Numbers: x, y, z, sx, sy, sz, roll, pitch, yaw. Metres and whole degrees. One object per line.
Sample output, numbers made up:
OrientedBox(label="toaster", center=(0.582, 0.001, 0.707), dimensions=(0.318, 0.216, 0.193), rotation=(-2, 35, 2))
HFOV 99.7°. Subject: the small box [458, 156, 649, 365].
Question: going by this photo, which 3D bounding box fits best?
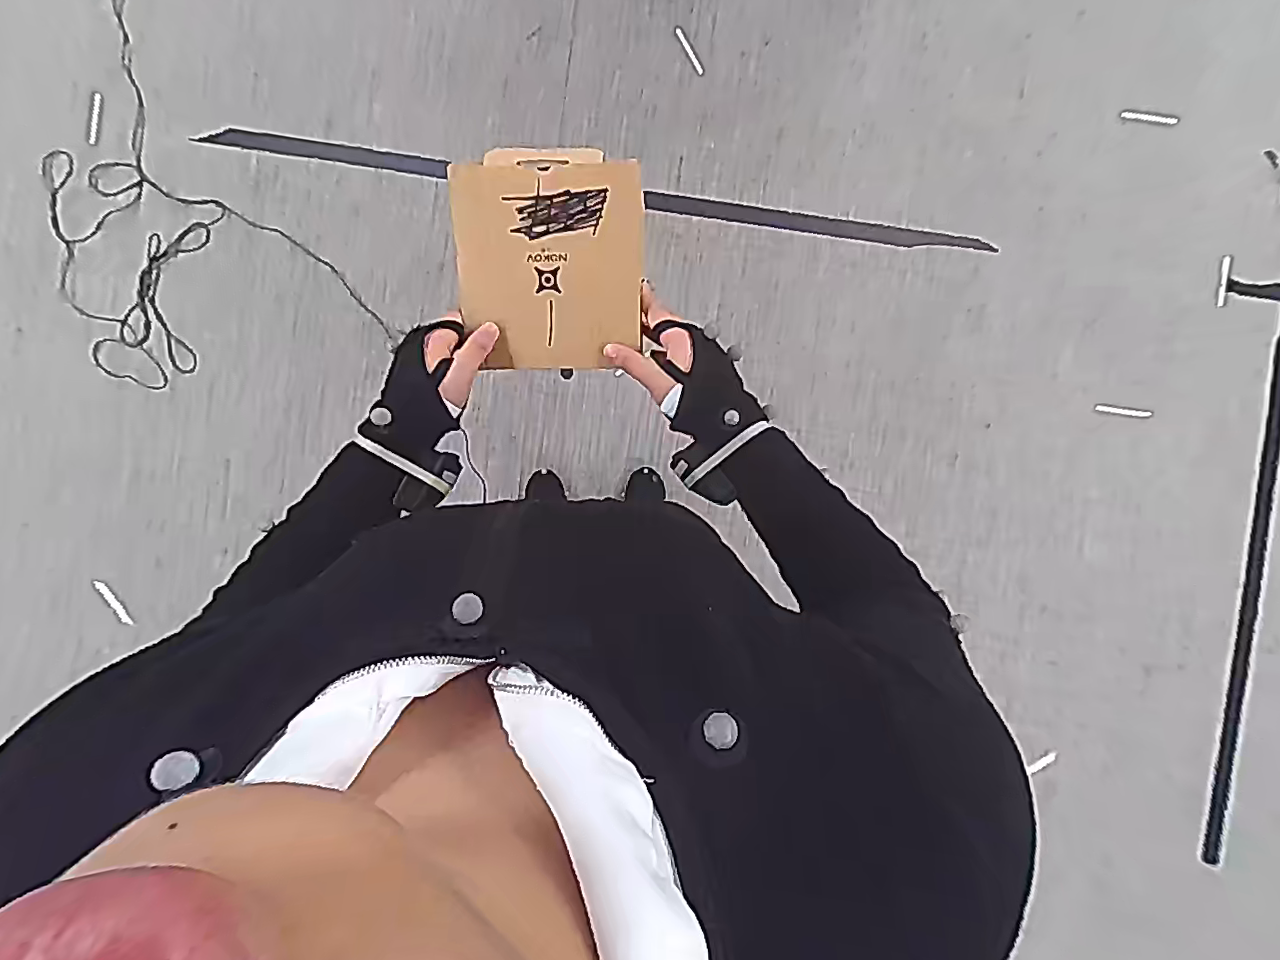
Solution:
OrientedBox(label="small box", center=(-0.075, -0.212, 0.561), dimensions=(0.168, 0.176, 0.179), rotation=(0, 105, 2))
